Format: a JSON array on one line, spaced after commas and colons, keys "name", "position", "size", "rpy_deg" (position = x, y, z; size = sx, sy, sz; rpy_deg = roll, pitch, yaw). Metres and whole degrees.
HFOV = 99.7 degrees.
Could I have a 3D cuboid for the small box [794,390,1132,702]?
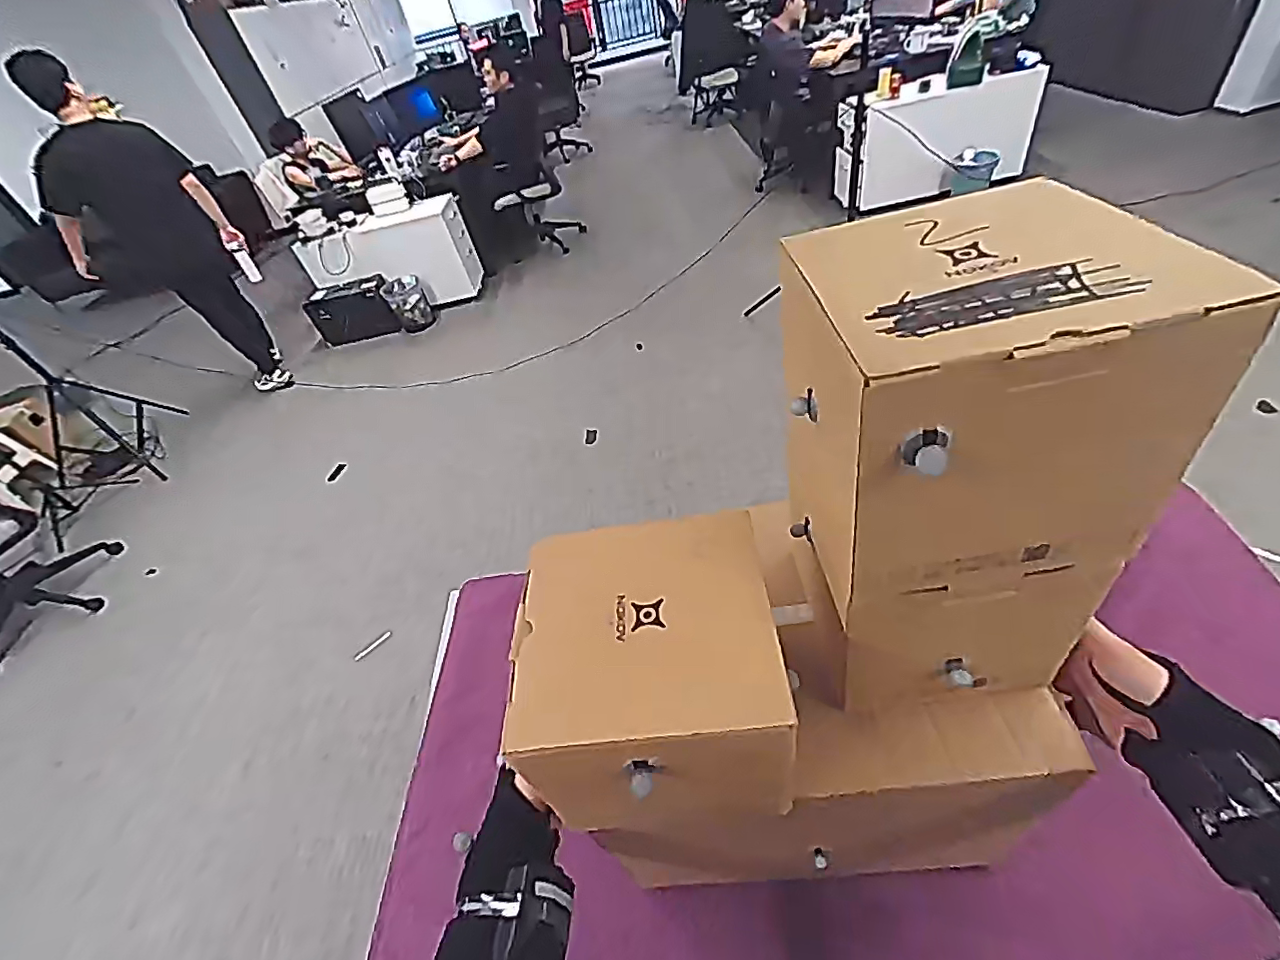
[{"name": "small box", "position": [0.229, 0.055, 0.446], "size": [0.168, 0.176, 0.179], "rpy_deg": [-11, 43, 7]}]
